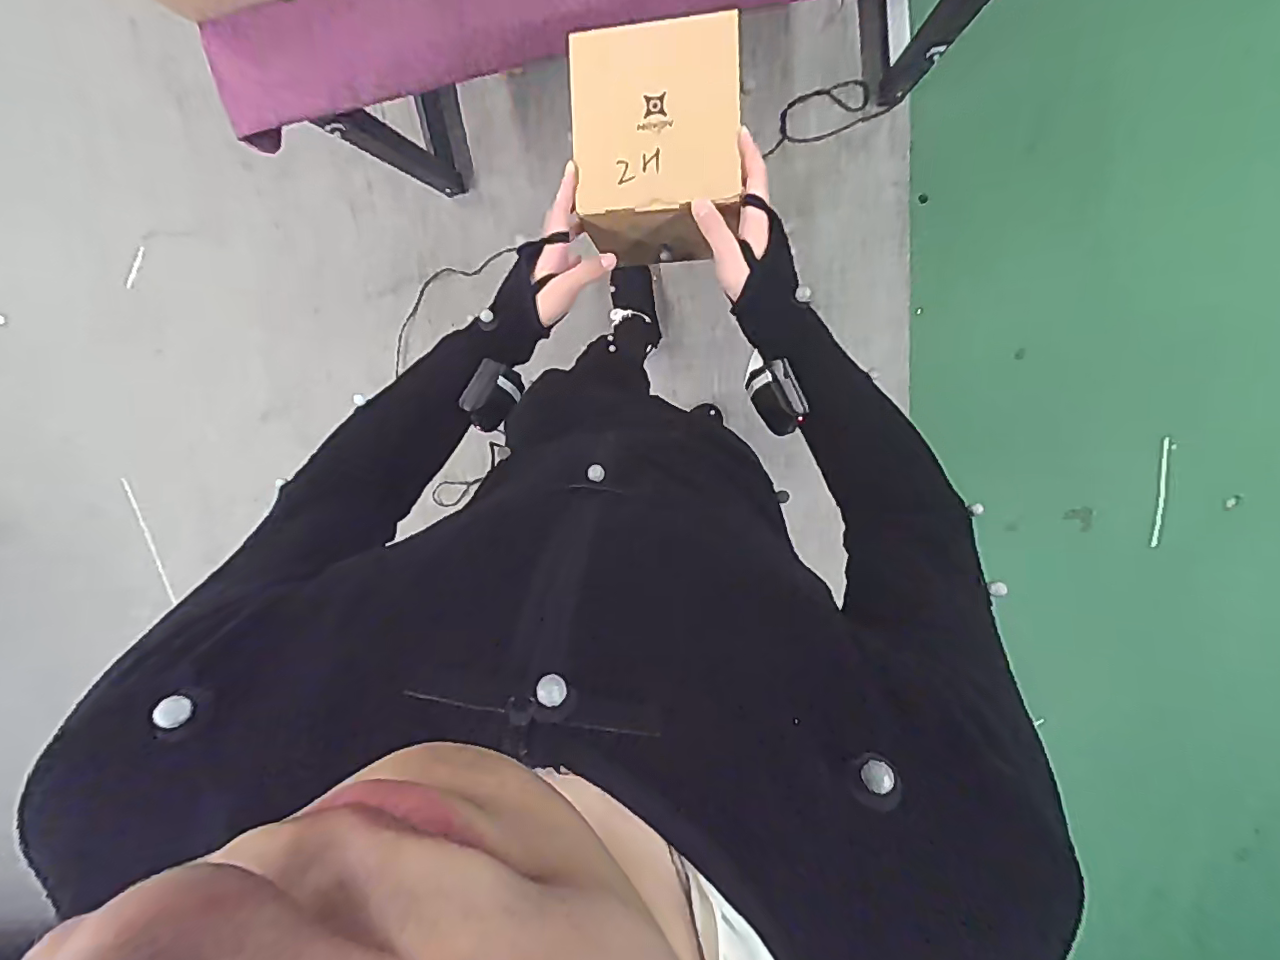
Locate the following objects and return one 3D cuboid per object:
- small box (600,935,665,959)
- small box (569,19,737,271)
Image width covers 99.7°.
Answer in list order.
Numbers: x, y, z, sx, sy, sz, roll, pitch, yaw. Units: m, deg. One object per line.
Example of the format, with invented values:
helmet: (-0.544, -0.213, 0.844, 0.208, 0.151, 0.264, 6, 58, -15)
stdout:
small box: (-0.018, 1.387, 1.478, 0.179, 0.176, 0.168, -9, 105, 8)
small box: (0.021, -0.353, 0.603, 0.168, 0.176, 0.179, -1, 93, 8)
